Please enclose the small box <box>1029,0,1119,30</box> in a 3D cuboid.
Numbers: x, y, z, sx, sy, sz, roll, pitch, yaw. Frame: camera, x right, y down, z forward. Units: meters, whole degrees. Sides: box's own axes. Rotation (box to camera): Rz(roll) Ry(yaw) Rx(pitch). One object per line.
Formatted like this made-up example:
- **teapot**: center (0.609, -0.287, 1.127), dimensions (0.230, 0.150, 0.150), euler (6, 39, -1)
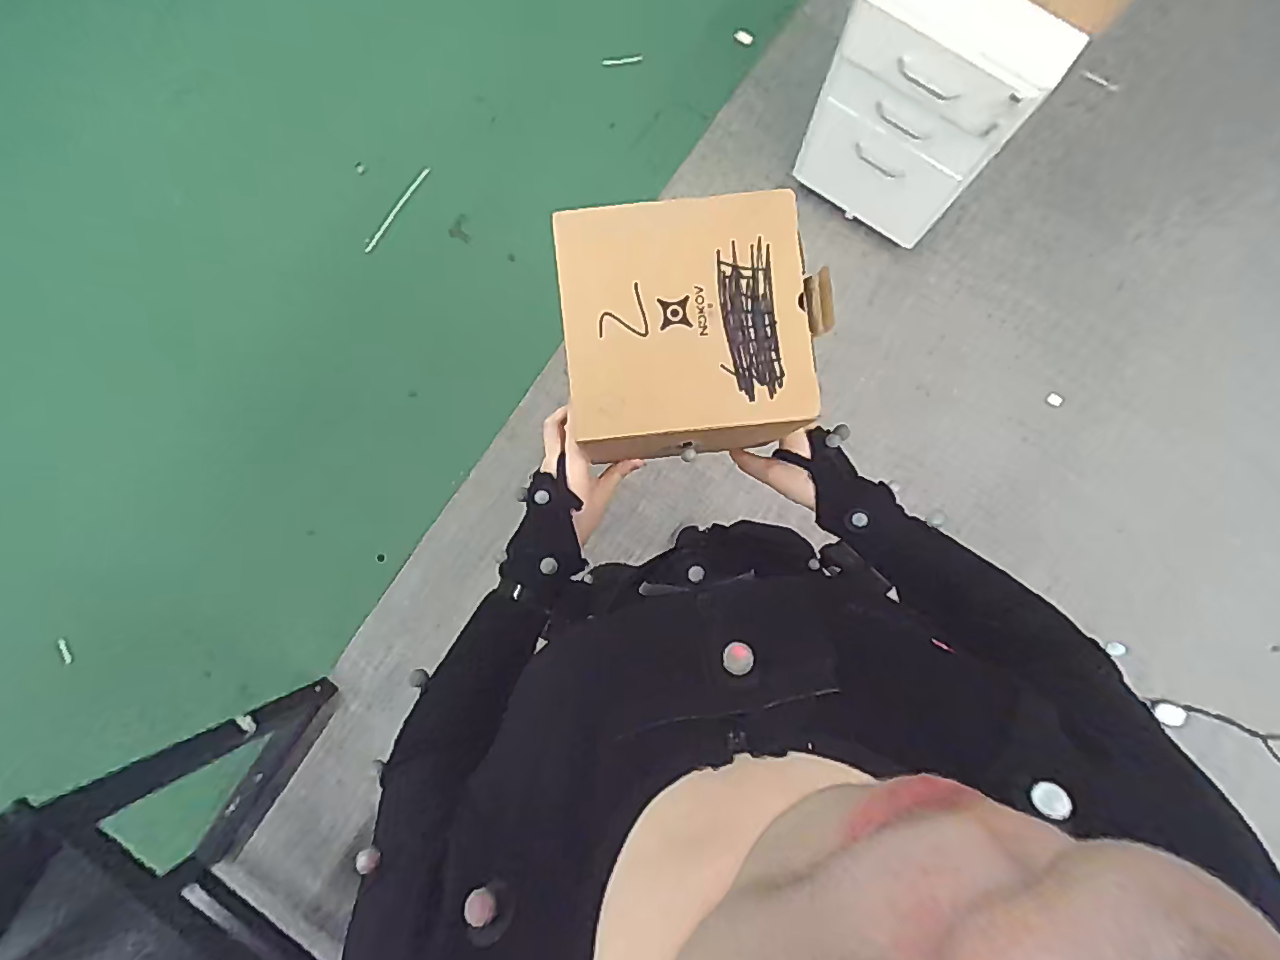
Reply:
- **small box**: center (0.774, -0.910, 0.894), dimensions (0.179, 0.176, 0.168), euler (38, 87, 5)
